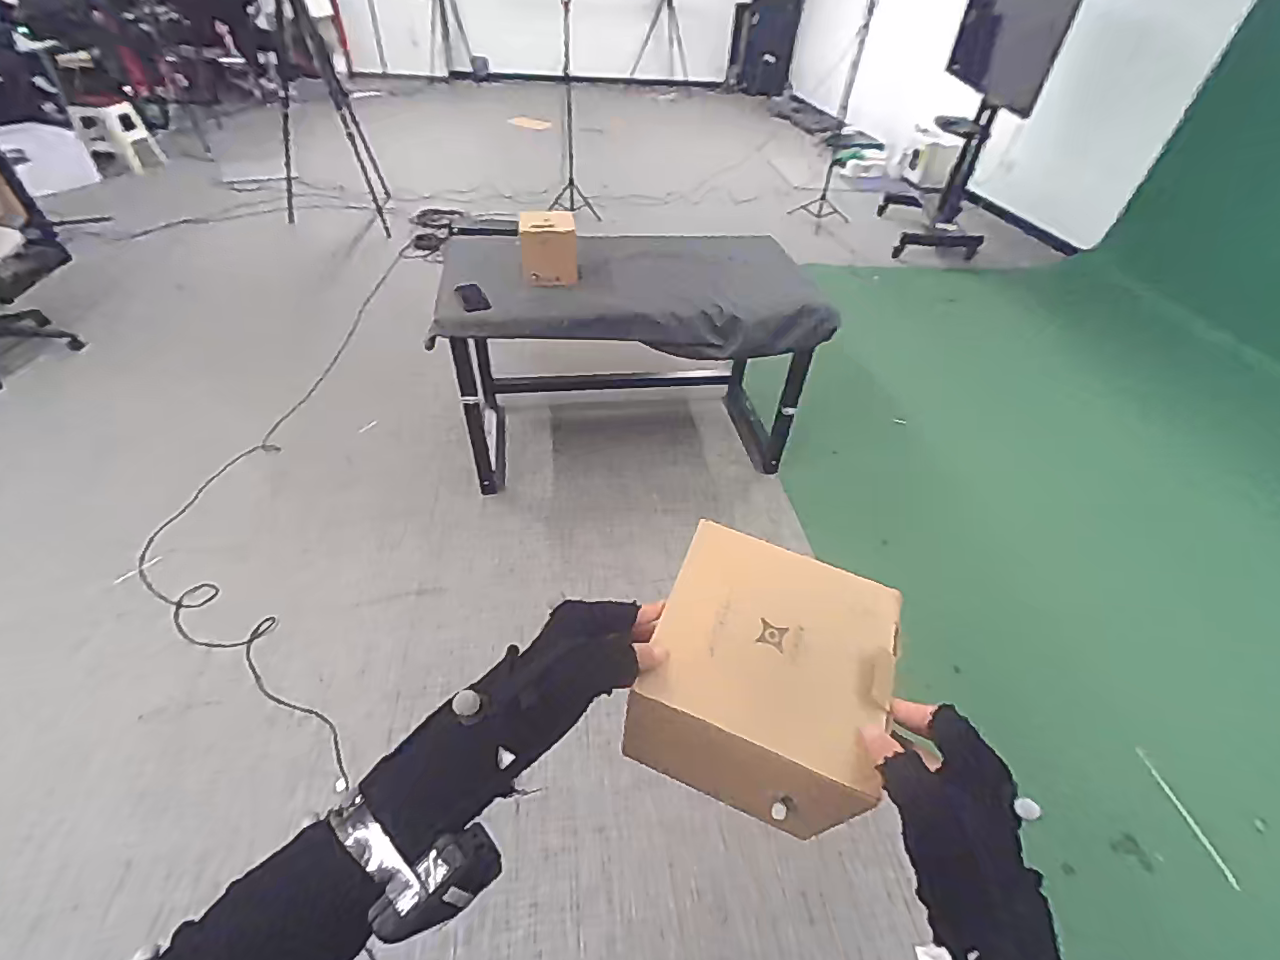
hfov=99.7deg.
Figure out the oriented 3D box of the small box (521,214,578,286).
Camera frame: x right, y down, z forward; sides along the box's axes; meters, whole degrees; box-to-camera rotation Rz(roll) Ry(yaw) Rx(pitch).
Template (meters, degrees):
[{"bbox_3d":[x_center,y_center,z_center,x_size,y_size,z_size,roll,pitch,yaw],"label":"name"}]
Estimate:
[{"bbox_3d":[-0.285,-0.727,1.713,0.168,0.176,0.179,-4,43,-10],"label":"small box"}]
